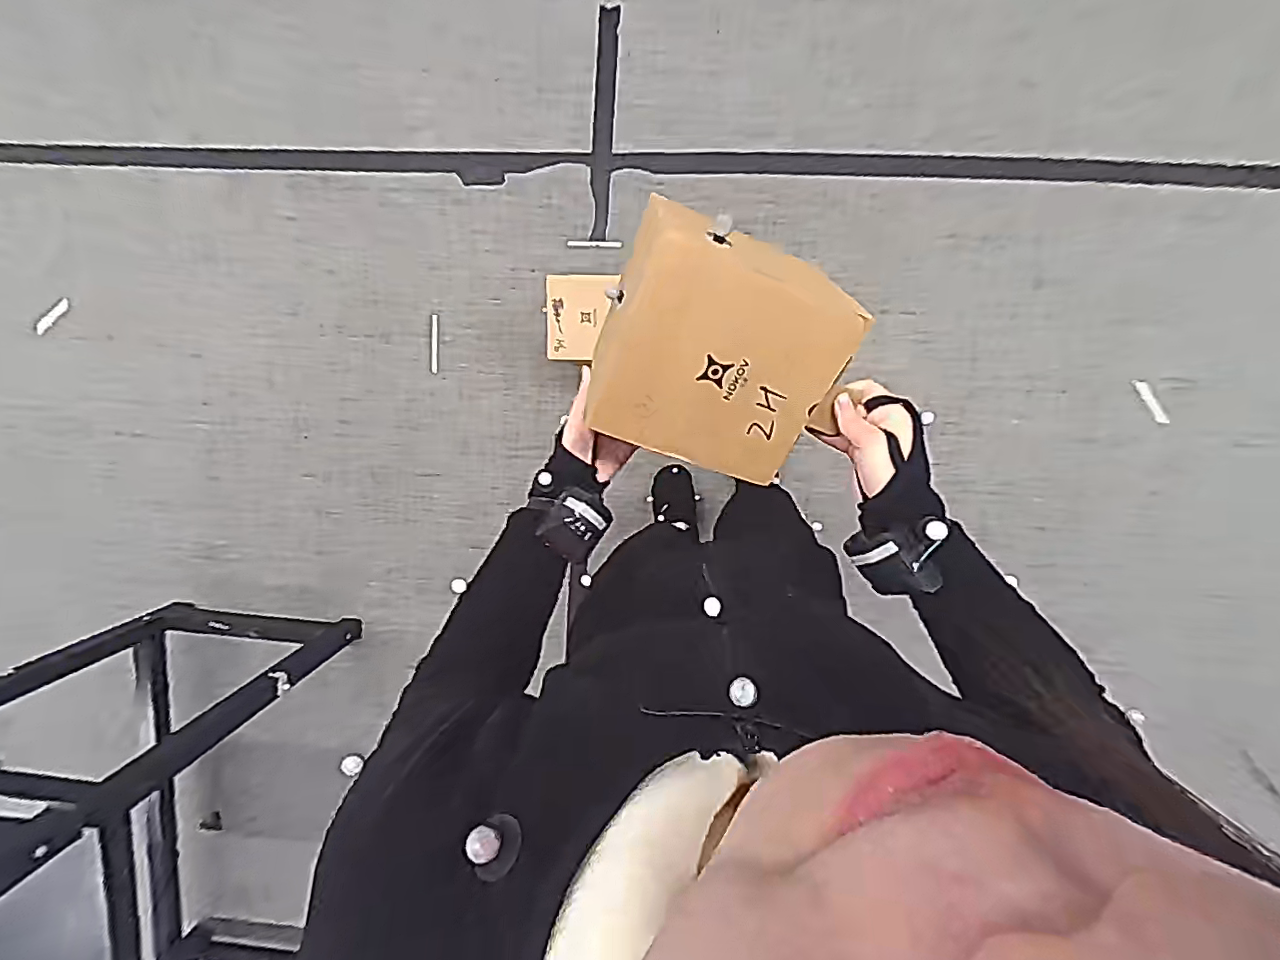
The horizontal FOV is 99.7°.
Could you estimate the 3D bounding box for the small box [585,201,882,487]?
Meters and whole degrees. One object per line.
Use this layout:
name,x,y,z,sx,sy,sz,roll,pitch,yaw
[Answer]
small box,0.063,-0.125,0.475,0.179,0.176,0.168,18,122,-15

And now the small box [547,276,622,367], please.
small box,-0.096,-0.327,1.142,0.179,0.176,0.168,2,99,2
